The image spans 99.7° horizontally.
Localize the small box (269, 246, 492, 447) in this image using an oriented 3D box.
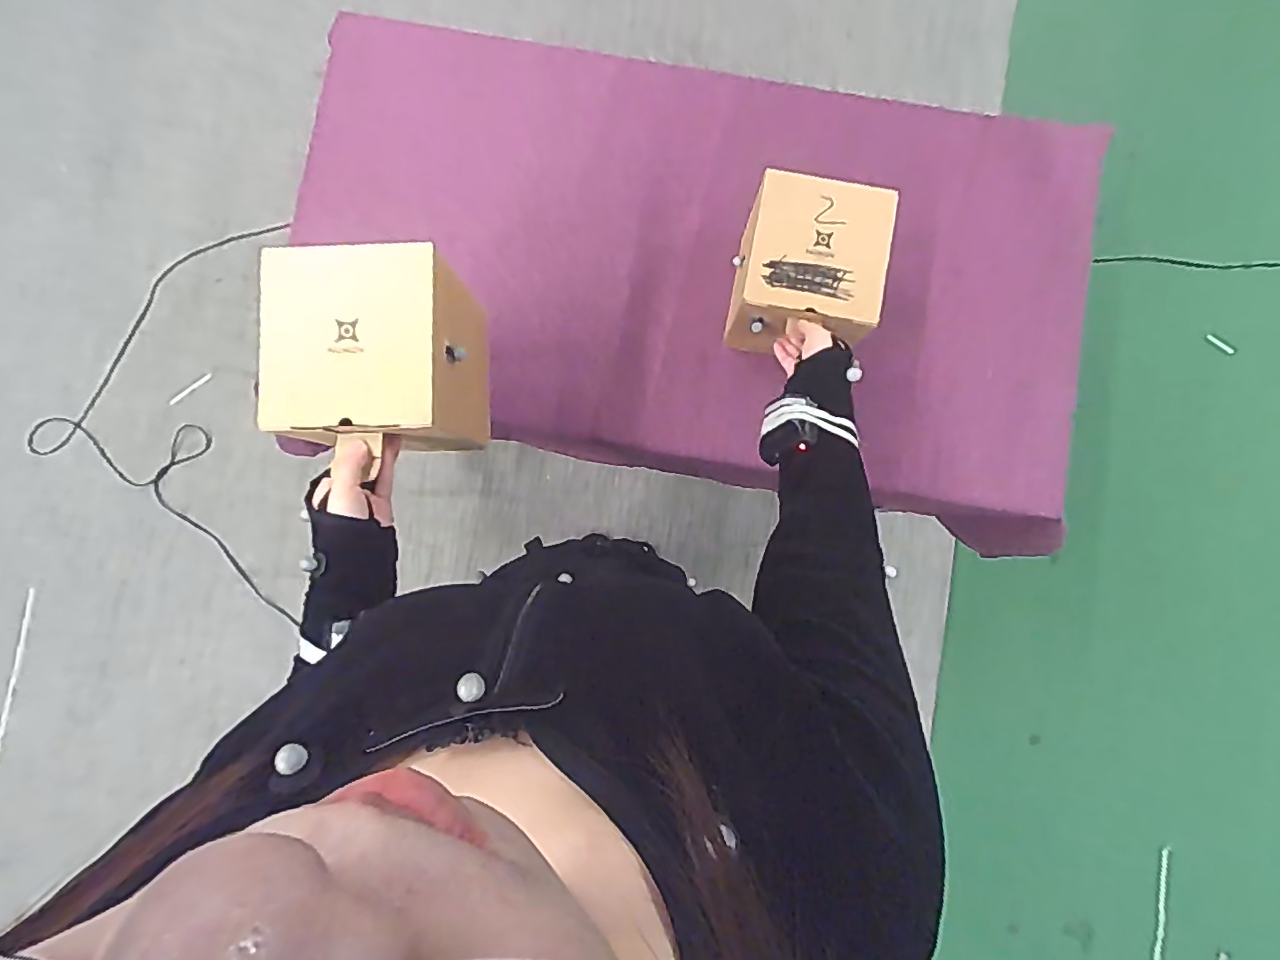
[{"bbox_3d":[-0.269,-0.134,0.597,0.168,0.176,0.179,-1,87,2],"label":"small box"}]
